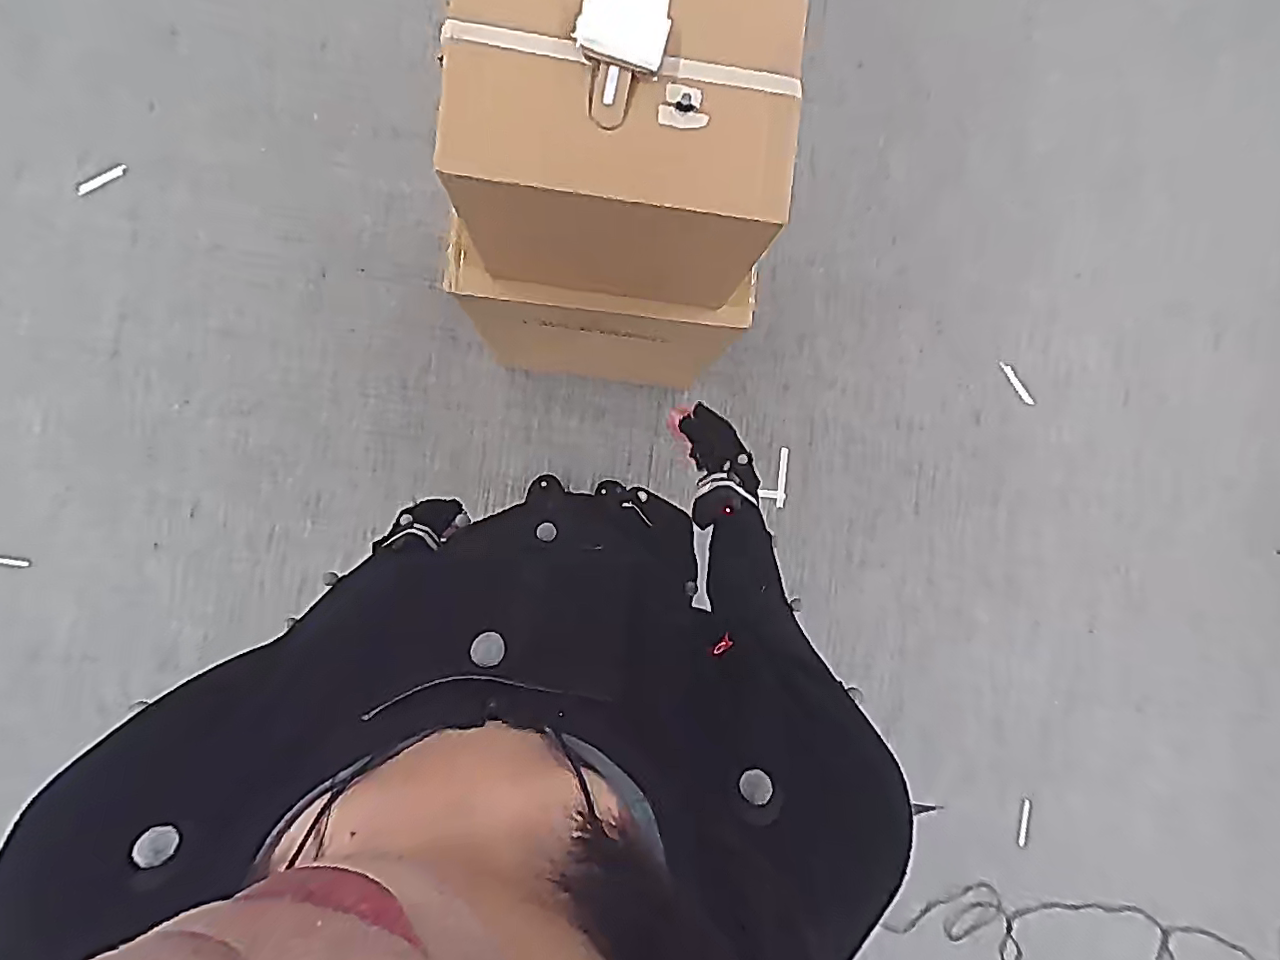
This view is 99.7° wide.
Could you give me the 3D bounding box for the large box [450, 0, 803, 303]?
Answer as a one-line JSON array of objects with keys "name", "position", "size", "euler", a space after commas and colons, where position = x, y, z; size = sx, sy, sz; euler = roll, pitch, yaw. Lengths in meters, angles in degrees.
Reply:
[{"name": "large box", "position": [-0.025, -0.476, 0.782], "size": [0.408, 0.320, 0.320], "euler": [6, 89, -6]}]
